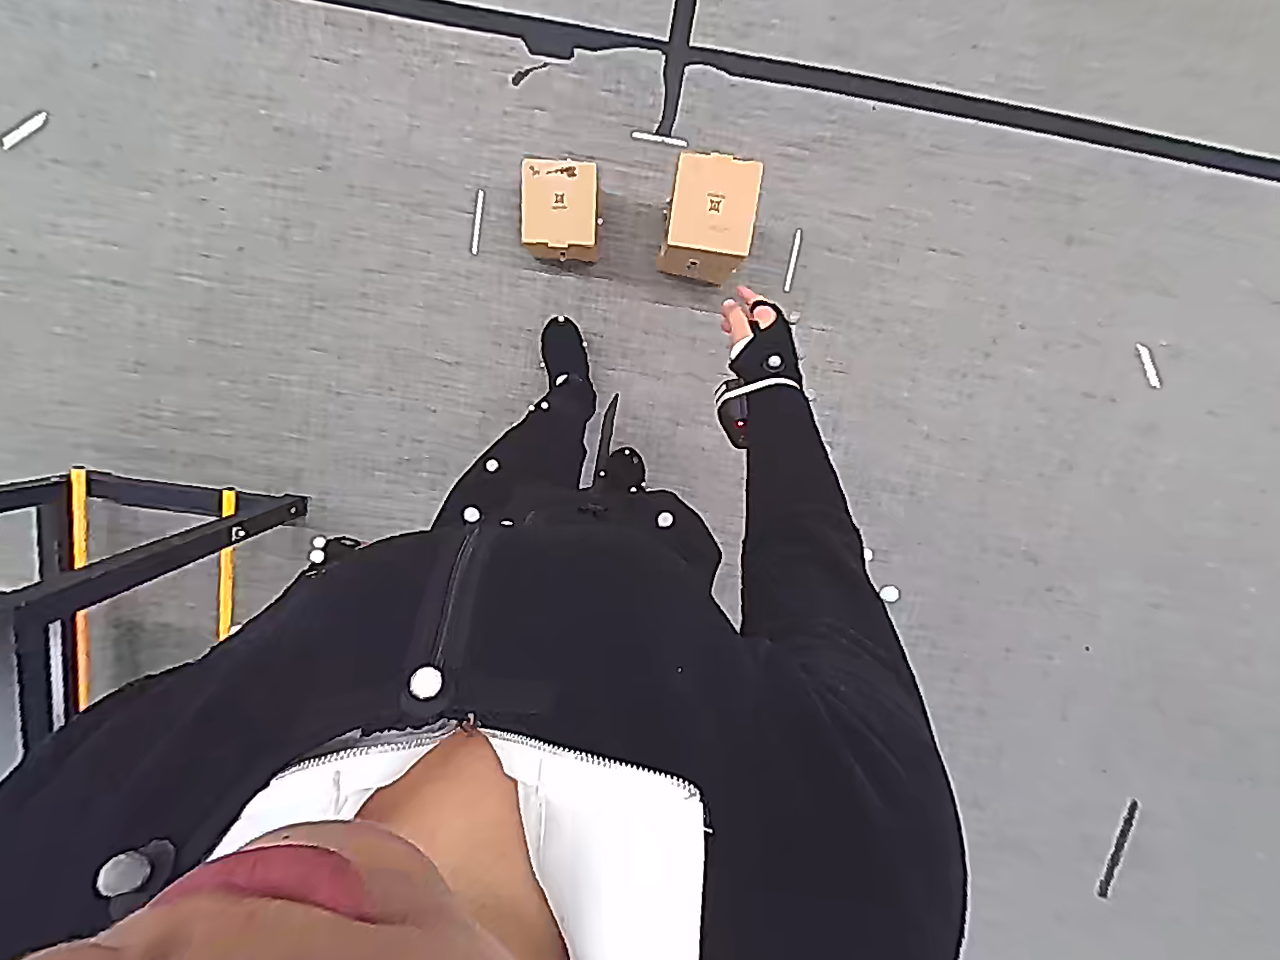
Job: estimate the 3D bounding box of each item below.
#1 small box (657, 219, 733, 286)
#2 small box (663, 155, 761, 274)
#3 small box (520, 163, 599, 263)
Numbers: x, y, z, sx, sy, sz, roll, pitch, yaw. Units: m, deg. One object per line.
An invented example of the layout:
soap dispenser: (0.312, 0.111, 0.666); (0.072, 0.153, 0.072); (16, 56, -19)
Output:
small box: (0.142, -0.575, 1.295); (0.179, 0.176, 0.168); (12, 101, -5)
small box: (0.141, -0.547, 1.135); (0.168, 0.176, 0.179); (8, 102, -2)
small box: (-0.185, -0.620, 1.276); (0.168, 0.176, 0.179); (3, 101, -2)
